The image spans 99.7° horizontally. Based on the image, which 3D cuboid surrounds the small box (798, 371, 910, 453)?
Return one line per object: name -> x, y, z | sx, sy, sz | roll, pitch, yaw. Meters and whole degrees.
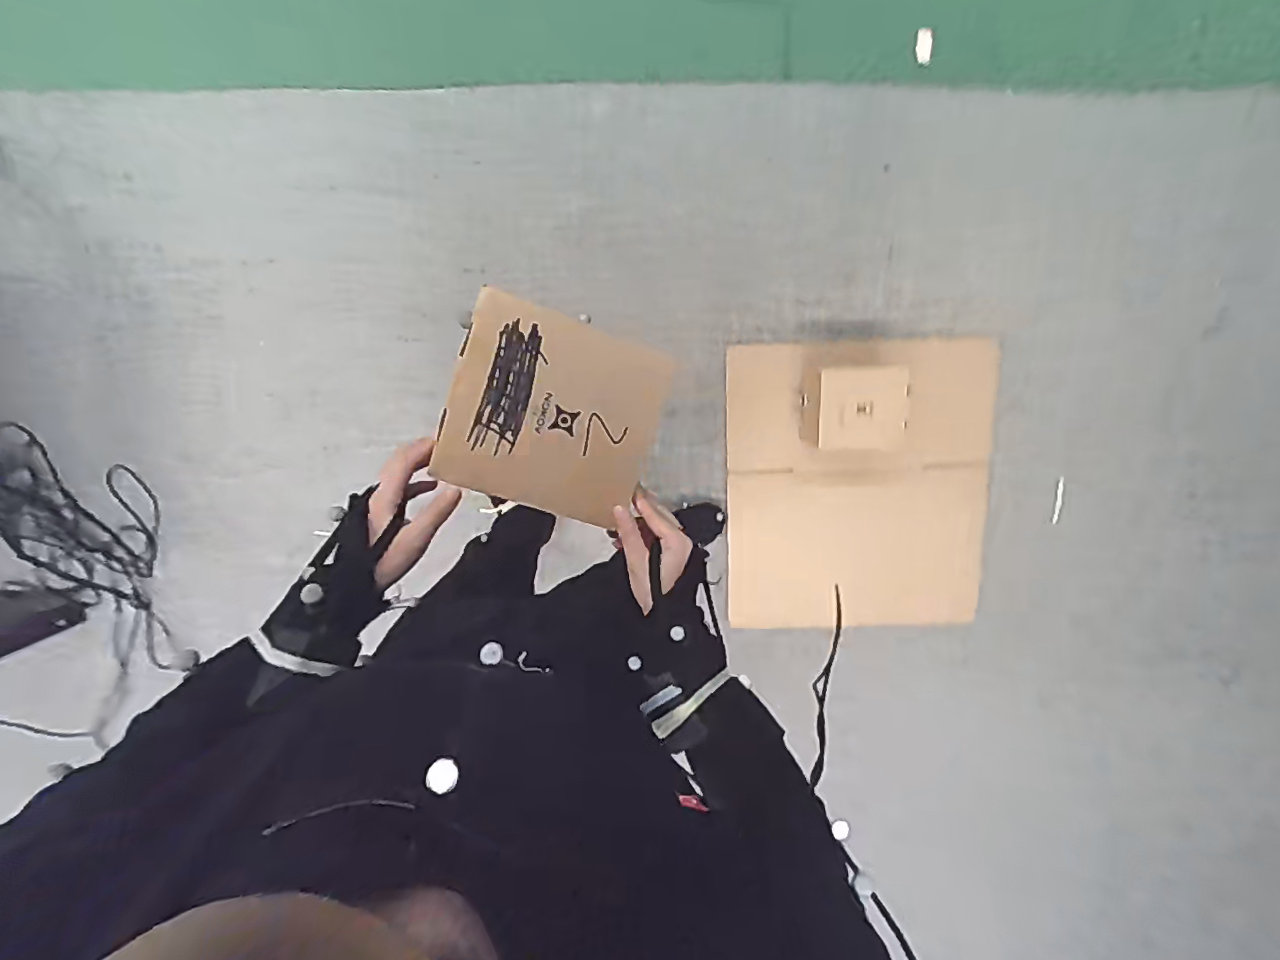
small box -> 0.451, -0.150, 1.161 | 0.179, 0.176, 0.168 | -1, 100, 3
